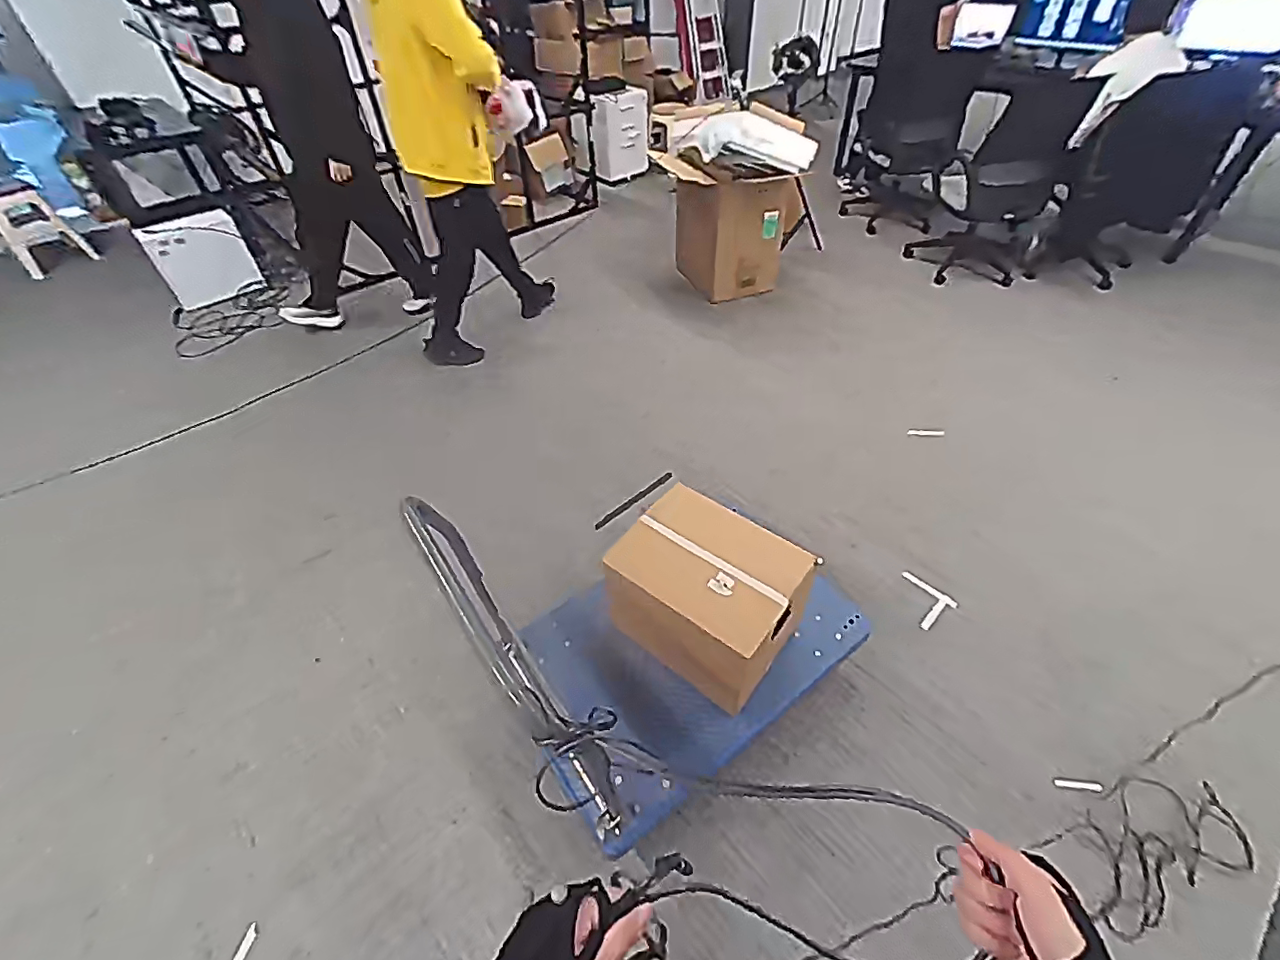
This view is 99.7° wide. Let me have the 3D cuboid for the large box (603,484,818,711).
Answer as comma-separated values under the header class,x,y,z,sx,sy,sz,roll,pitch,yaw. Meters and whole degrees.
class,x,y,z,sx,sy,sz,roll,pitch,yaw
large box,0.161,0.284,1.347,0.408,0.320,0.320,29,55,26
